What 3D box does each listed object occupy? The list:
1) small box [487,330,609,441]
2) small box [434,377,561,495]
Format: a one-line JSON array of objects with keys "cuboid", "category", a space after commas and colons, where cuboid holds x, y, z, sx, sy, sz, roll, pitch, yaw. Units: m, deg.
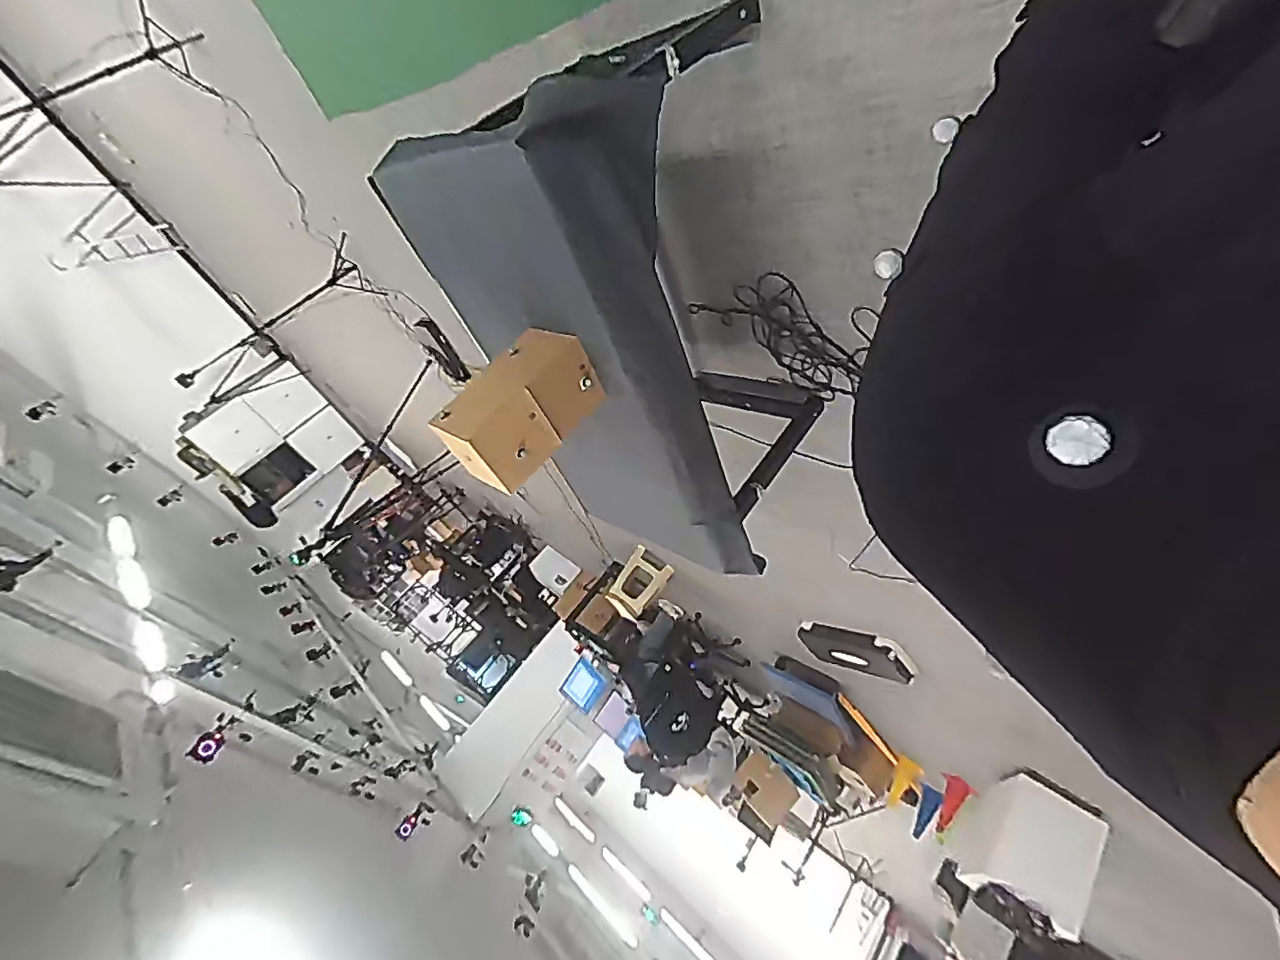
[{"cuboid": [-0.202, -0.219, 1.220, 0.179, 0.176, 0.168, 21, 151, 40], "category": "small box"}, {"cuboid": [-0.294, -0.100, 1.157, 0.179, 0.176, 0.168, 22, 152, 42], "category": "small box"}]
